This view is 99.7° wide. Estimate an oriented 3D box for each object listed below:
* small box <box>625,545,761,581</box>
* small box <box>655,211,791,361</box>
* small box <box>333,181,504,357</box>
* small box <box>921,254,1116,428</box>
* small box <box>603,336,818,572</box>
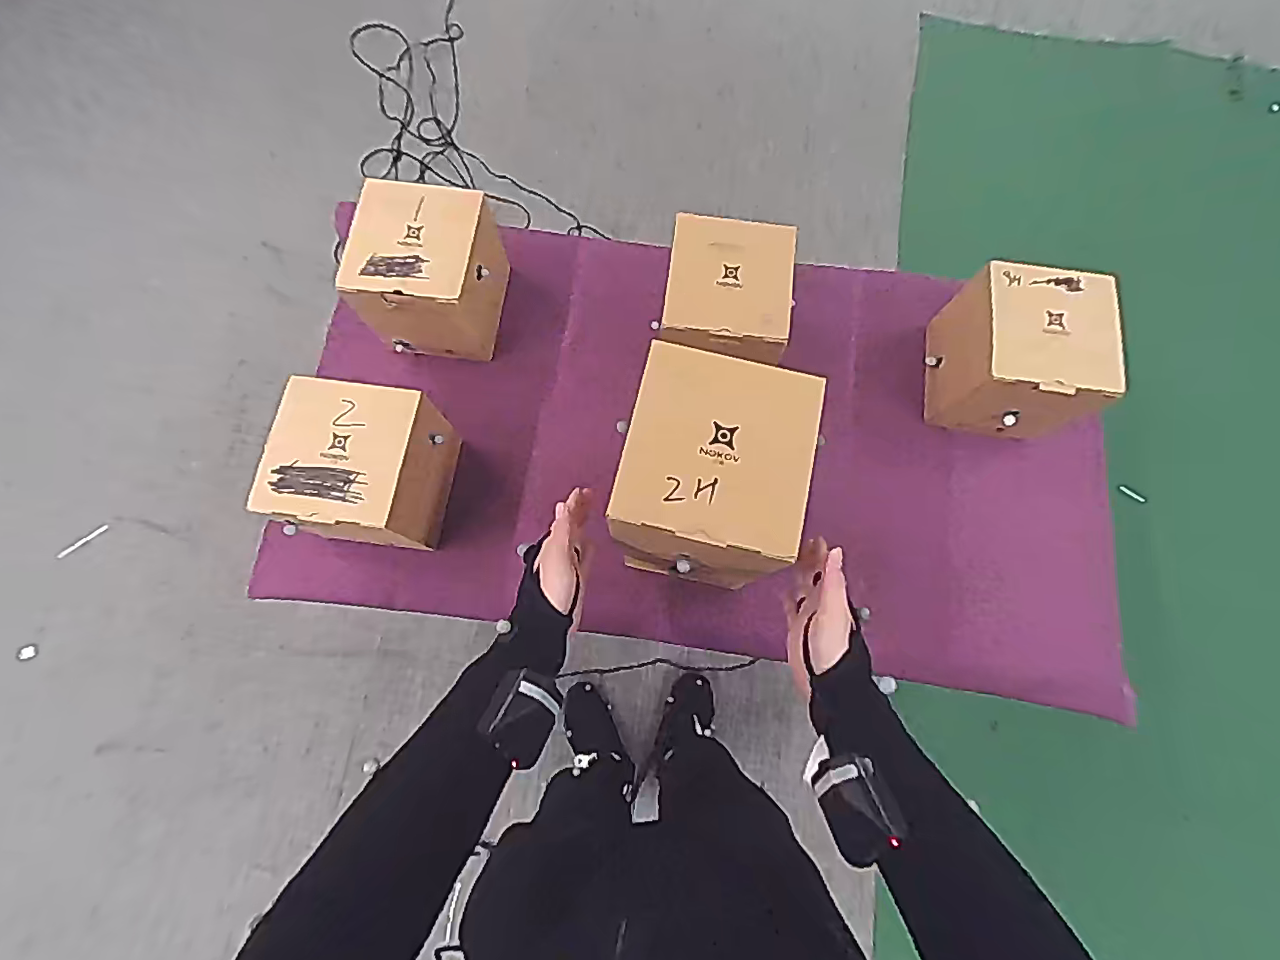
[{"bbox_3d":[0.073,0.026,0.712,0.168,0.176,0.179,11,75,2],"label":"small box"},{"bbox_3d":[0.112,-0.252,0.786,0.168,0.176,0.179,7,75,1],"label":"small box"},{"bbox_3d":[-0.309,-0.298,0.795,0.168,0.176,0.179,6,75,1],"label":"small box"},{"bbox_3d":[0.522,-0.187,0.768,0.168,0.176,0.179,8,76,2],"label":"small box"},{"bbox_3d":[0.064,-0.014,0.553,0.168,0.176,0.179,13,75,4],"label":"small box"}]
